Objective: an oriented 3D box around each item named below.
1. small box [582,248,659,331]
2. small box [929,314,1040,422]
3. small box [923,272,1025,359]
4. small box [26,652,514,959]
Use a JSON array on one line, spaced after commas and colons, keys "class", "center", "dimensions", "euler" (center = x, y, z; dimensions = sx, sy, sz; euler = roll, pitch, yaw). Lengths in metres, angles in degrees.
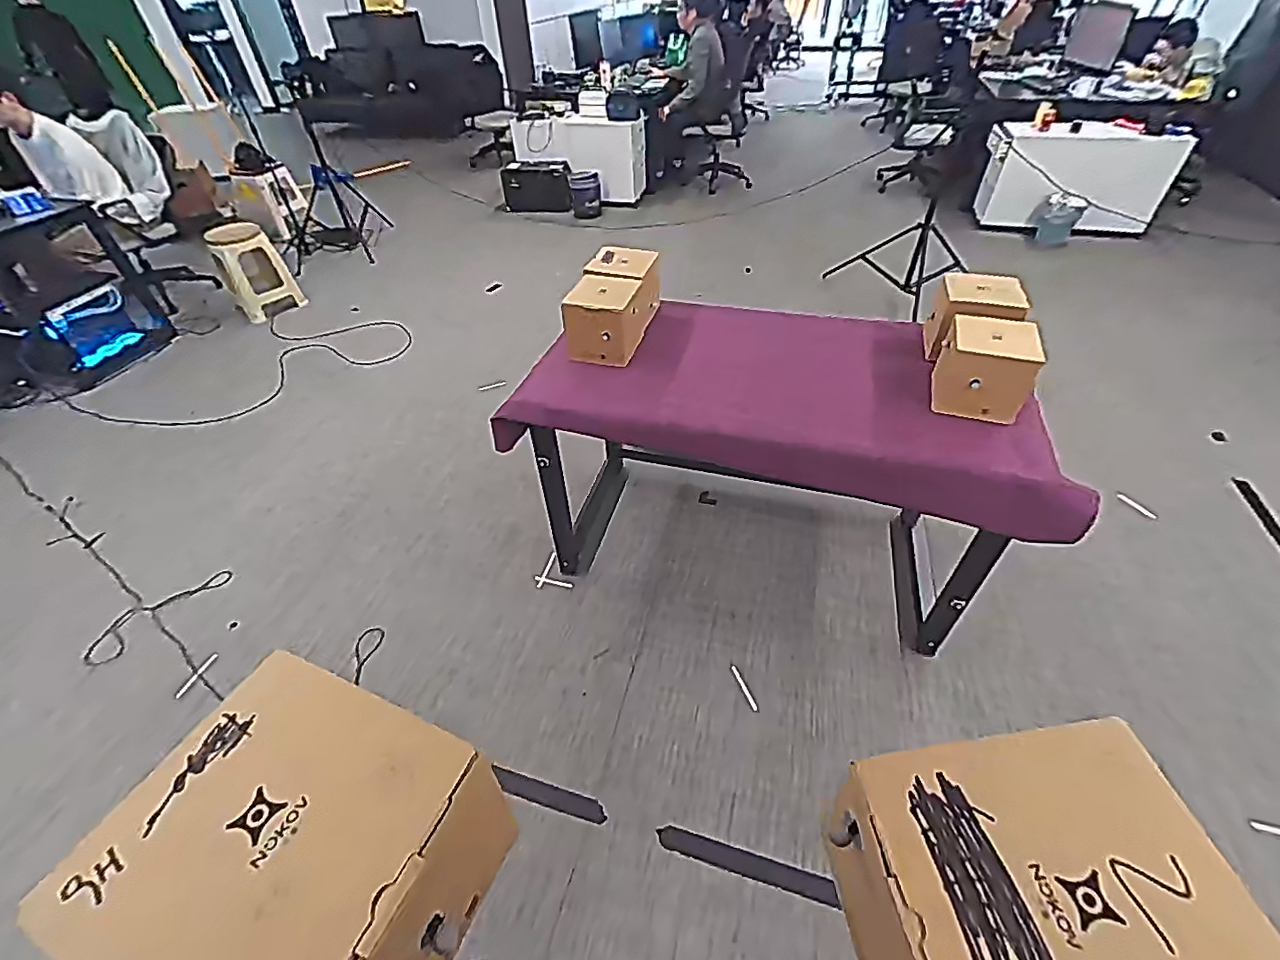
[{"class": "small box", "center": [-0.052, -0.554, 1.575], "dimensions": [0.179, 0.176, 0.168], "euler": [13, 48, 13]}, {"class": "small box", "center": [0.776, -0.254, 1.233], "dimensions": [0.168, 0.176, 0.179], "euler": [13, 45, 17]}, {"class": "small box", "center": [0.838, -0.409, 1.381], "dimensions": [0.179, 0.176, 0.168], "euler": [11, 47, 13]}, {"class": "small box", "center": [-0.204, 0.253, 0.360], "dimensions": [0.179, 0.176, 0.168], "euler": [18, 46, 16]}]
